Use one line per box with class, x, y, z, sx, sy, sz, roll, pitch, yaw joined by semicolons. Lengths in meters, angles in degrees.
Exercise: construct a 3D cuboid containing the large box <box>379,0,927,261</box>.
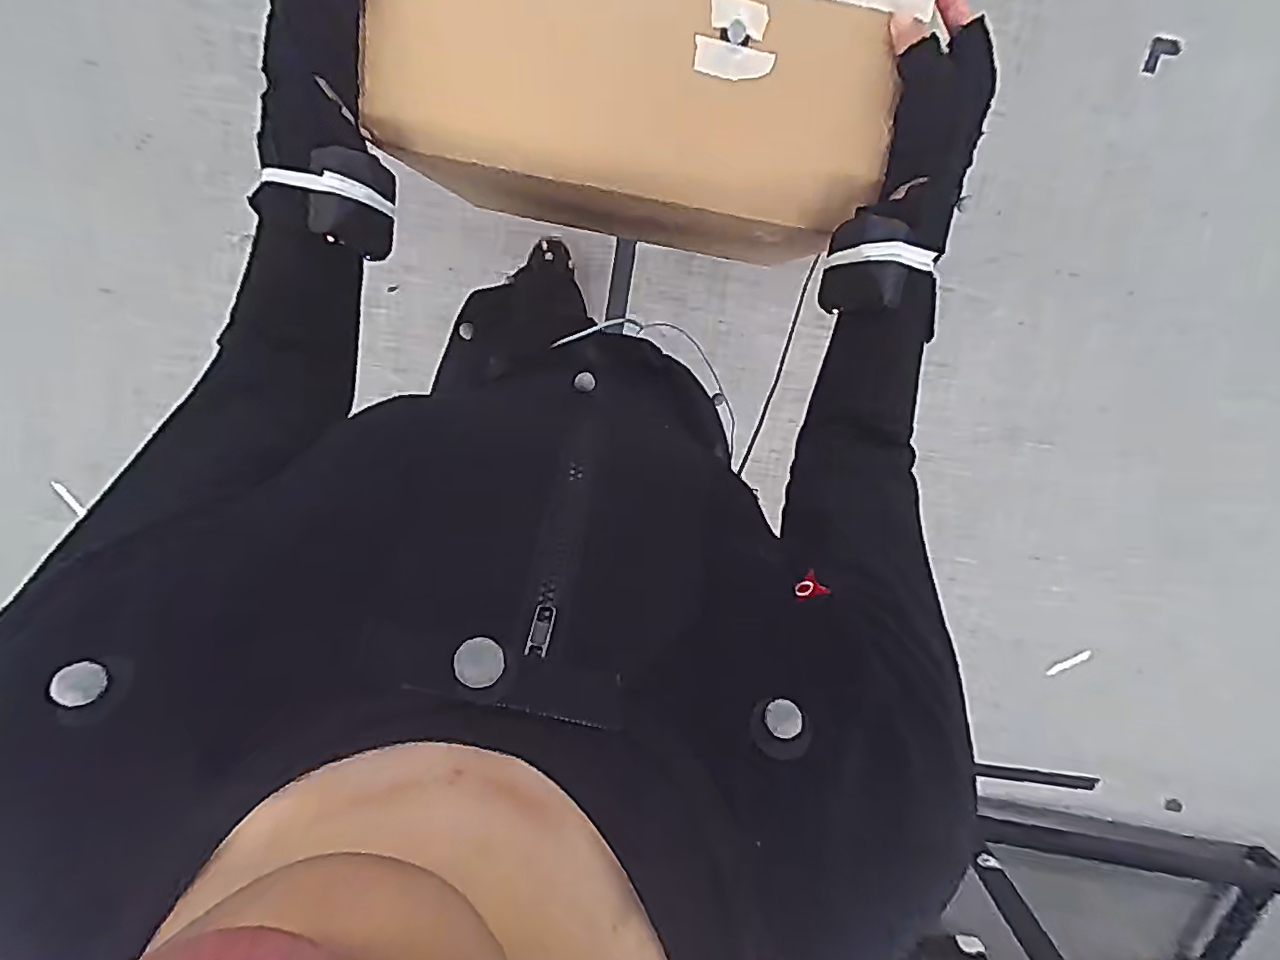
large box;0.010;-0.420;0.531;0.408;0.320;0.320;9;108;-5
